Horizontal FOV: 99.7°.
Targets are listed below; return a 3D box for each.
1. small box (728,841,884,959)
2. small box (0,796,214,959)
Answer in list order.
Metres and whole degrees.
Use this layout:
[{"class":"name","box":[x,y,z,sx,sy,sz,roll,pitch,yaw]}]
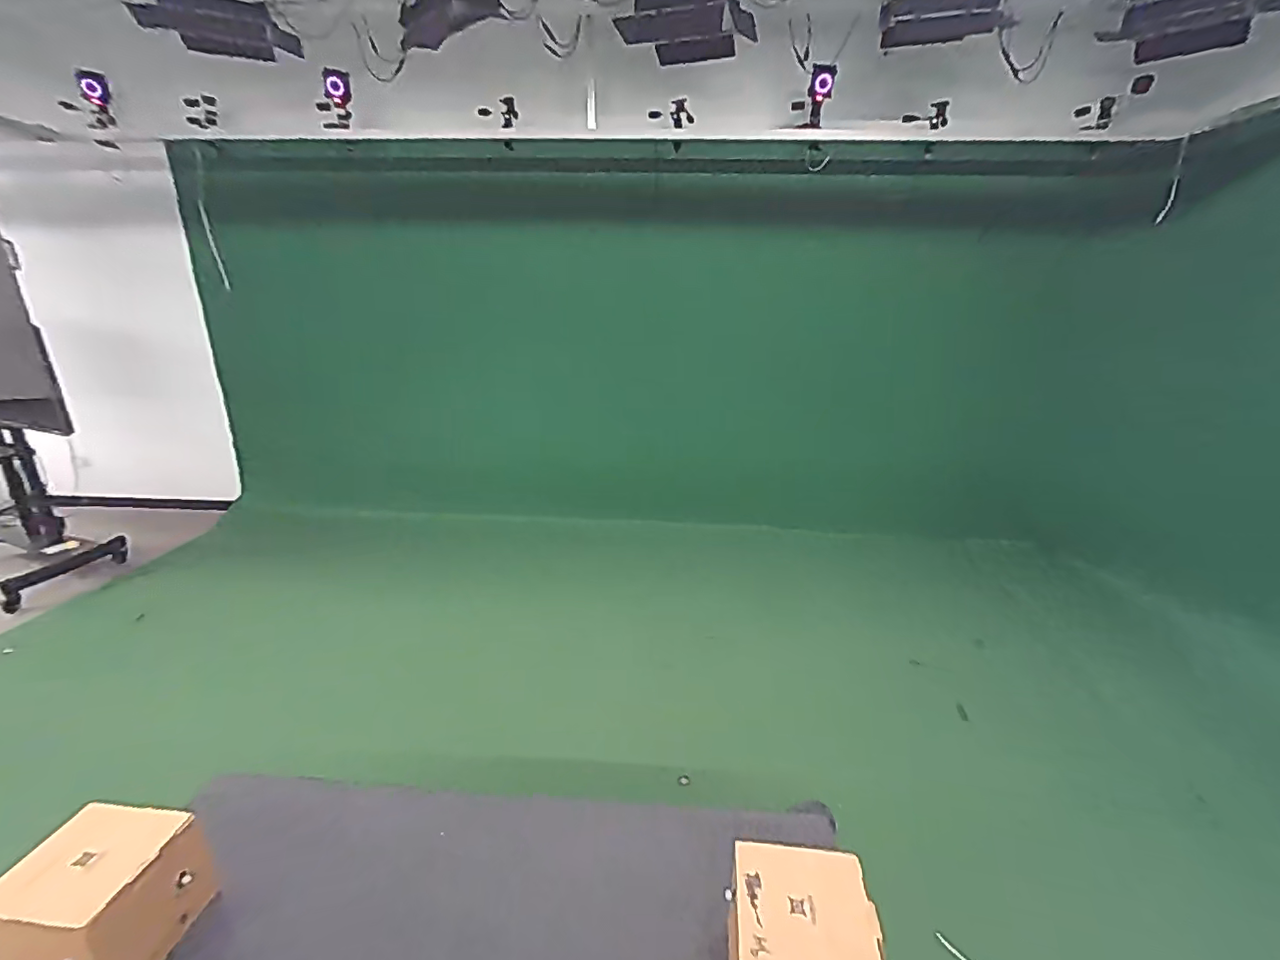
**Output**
[{"class":"small box","box":[0.215,0.637,0.733,0.179,0.176,0.168,3,19,7]},{"class":"small box","box":[-0.763,0.595,0.773,0.179,0.176,0.168,3,16,6]}]
